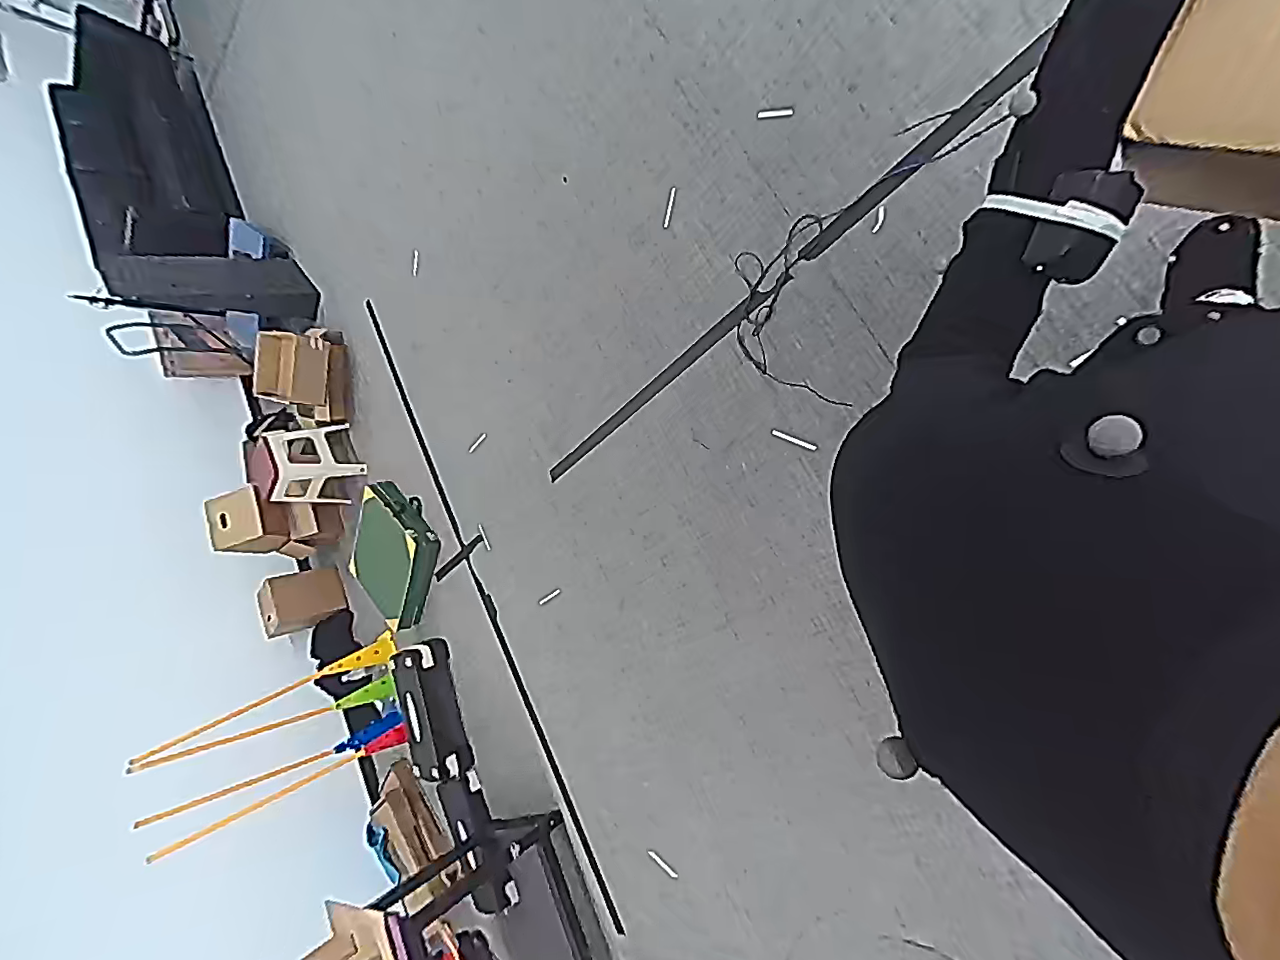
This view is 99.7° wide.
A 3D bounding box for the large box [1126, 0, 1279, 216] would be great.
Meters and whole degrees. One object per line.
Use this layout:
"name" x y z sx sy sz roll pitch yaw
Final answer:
"large box" 0.590 -0.318 0.297 0.408 0.320 0.320 30 123 31
